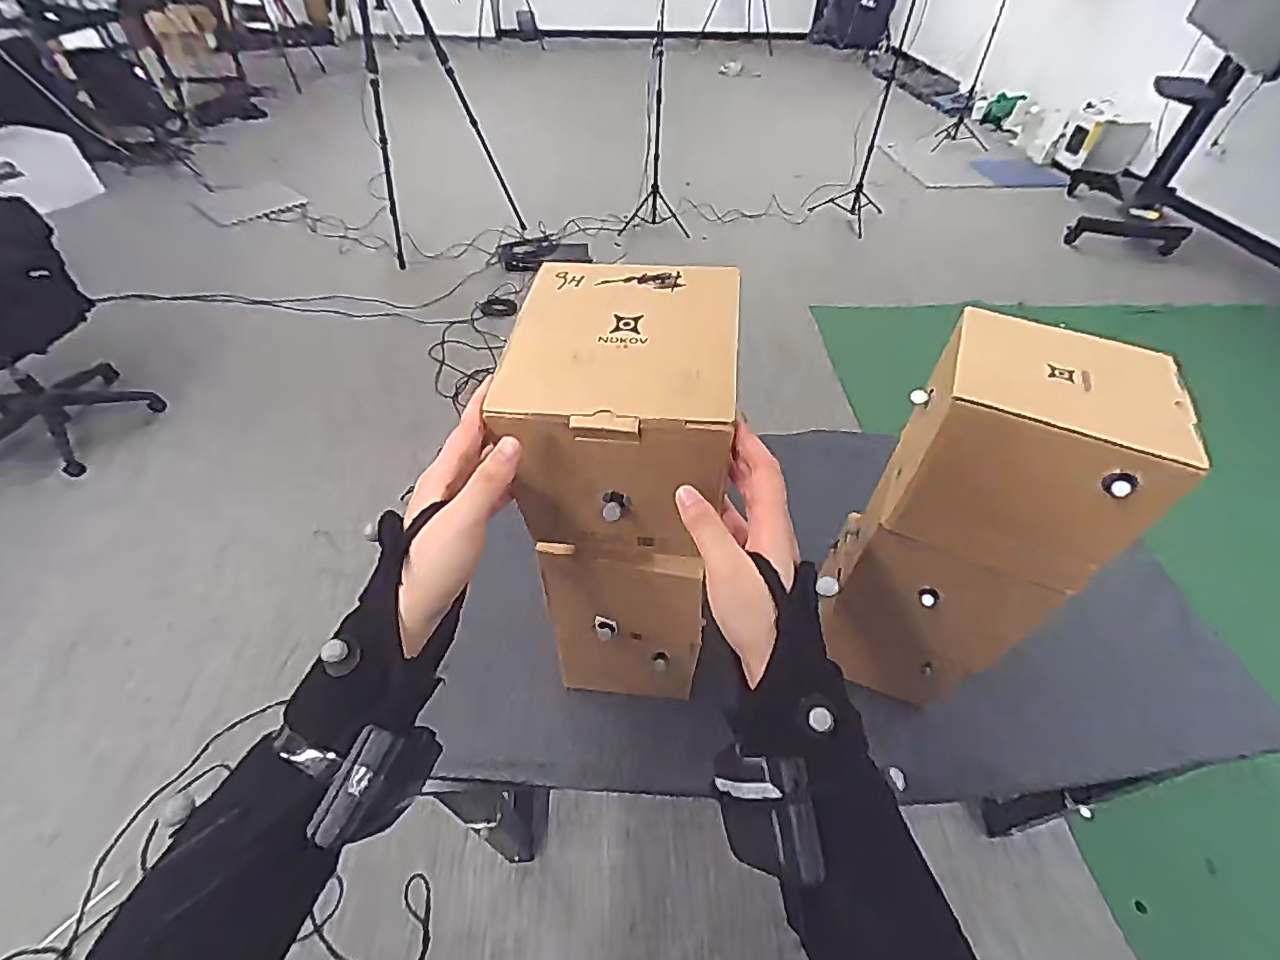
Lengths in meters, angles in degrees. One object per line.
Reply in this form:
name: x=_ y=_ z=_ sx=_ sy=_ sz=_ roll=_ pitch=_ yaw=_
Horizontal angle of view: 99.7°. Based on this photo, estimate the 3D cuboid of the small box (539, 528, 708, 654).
small box: x=-0.005 y=0.074 z=0.627 sx=0.168 sy=0.176 sz=0.179 roll=8 pitch=49 yaw=7

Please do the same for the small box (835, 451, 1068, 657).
small box: x=0.352 y=0.078 z=0.627 sx=0.179 sy=0.176 sz=0.168 roll=22 pitch=50 yaw=18

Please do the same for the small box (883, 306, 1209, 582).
small box: x=0.352 y=-0.033 z=0.508 sx=0.179 sy=0.176 sz=0.168 roll=21 pitch=50 yaw=16

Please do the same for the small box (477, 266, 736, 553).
small box: x=-0.010 y=-0.055 z=0.452 sx=0.168 sy=0.176 sz=0.179 roll=4 pitch=55 yaw=7

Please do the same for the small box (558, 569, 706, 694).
small box: x=-0.006 y=0.181 z=0.749 sx=0.179 sy=0.176 sz=0.168 roll=5 pitch=47 yaw=3
